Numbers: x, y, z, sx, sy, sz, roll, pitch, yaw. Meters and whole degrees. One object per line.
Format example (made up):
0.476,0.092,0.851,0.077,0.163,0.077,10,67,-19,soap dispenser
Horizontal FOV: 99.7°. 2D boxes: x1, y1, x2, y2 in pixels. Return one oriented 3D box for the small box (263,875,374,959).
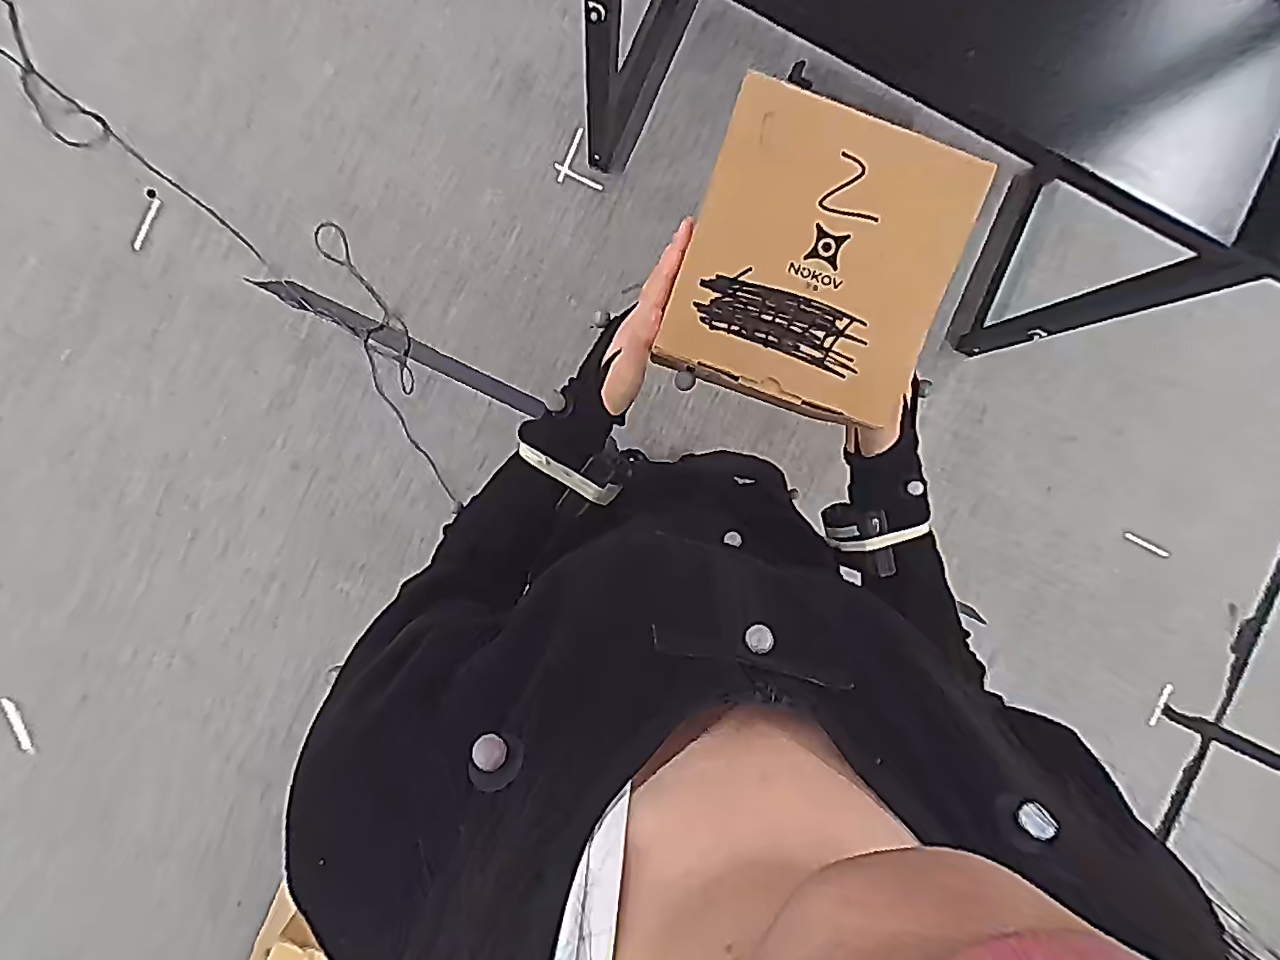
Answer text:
-0.738,1.062,1.227,0.168,0.176,0.179,27,89,-6,small box
